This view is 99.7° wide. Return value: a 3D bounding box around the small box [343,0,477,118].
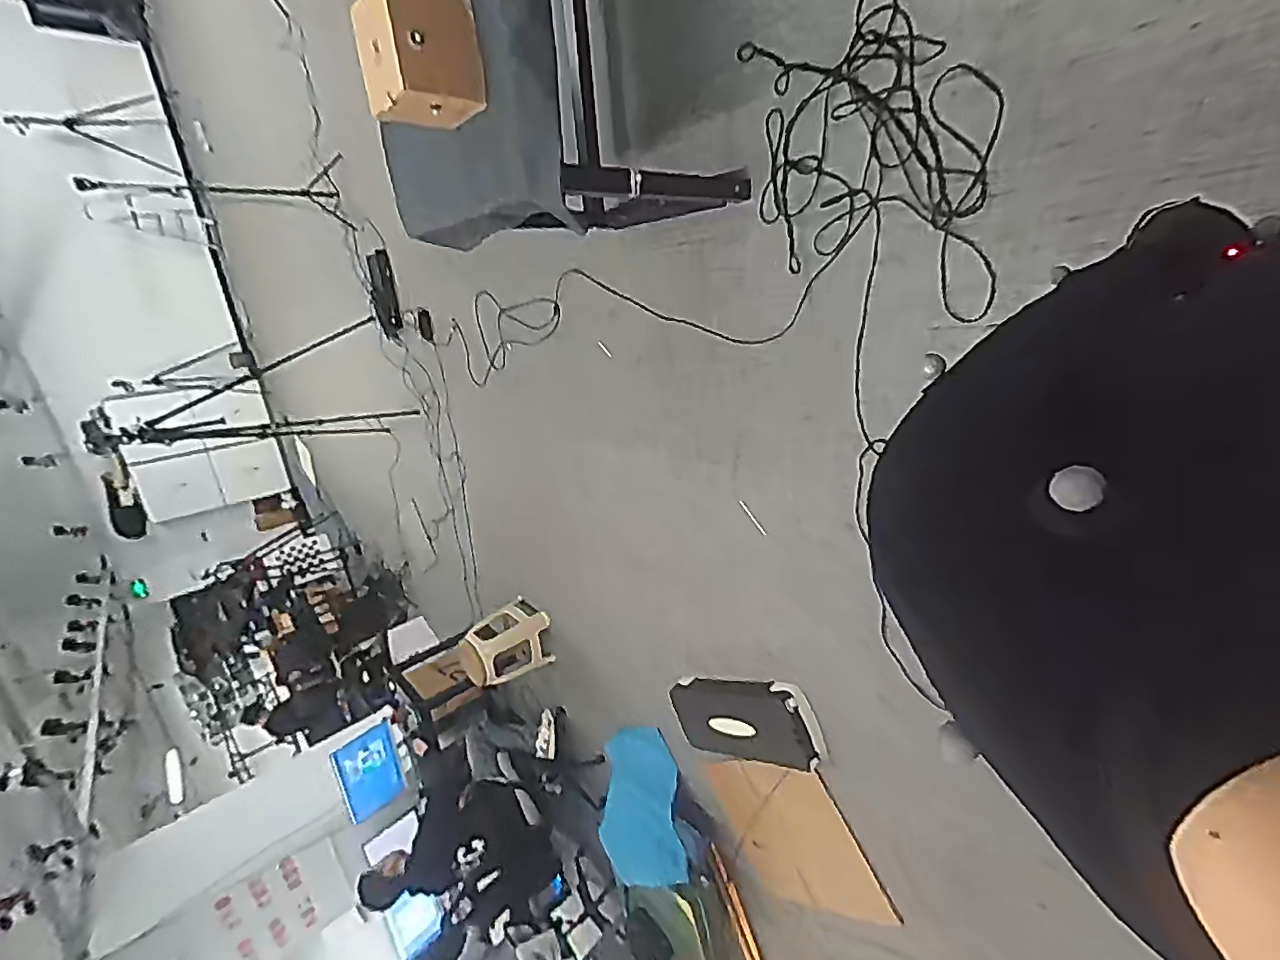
[{"bbox_3d":[-0.421,-0.797,1.006,0.168,0.176,0.179,14,116,44],"label":"small box"}]
